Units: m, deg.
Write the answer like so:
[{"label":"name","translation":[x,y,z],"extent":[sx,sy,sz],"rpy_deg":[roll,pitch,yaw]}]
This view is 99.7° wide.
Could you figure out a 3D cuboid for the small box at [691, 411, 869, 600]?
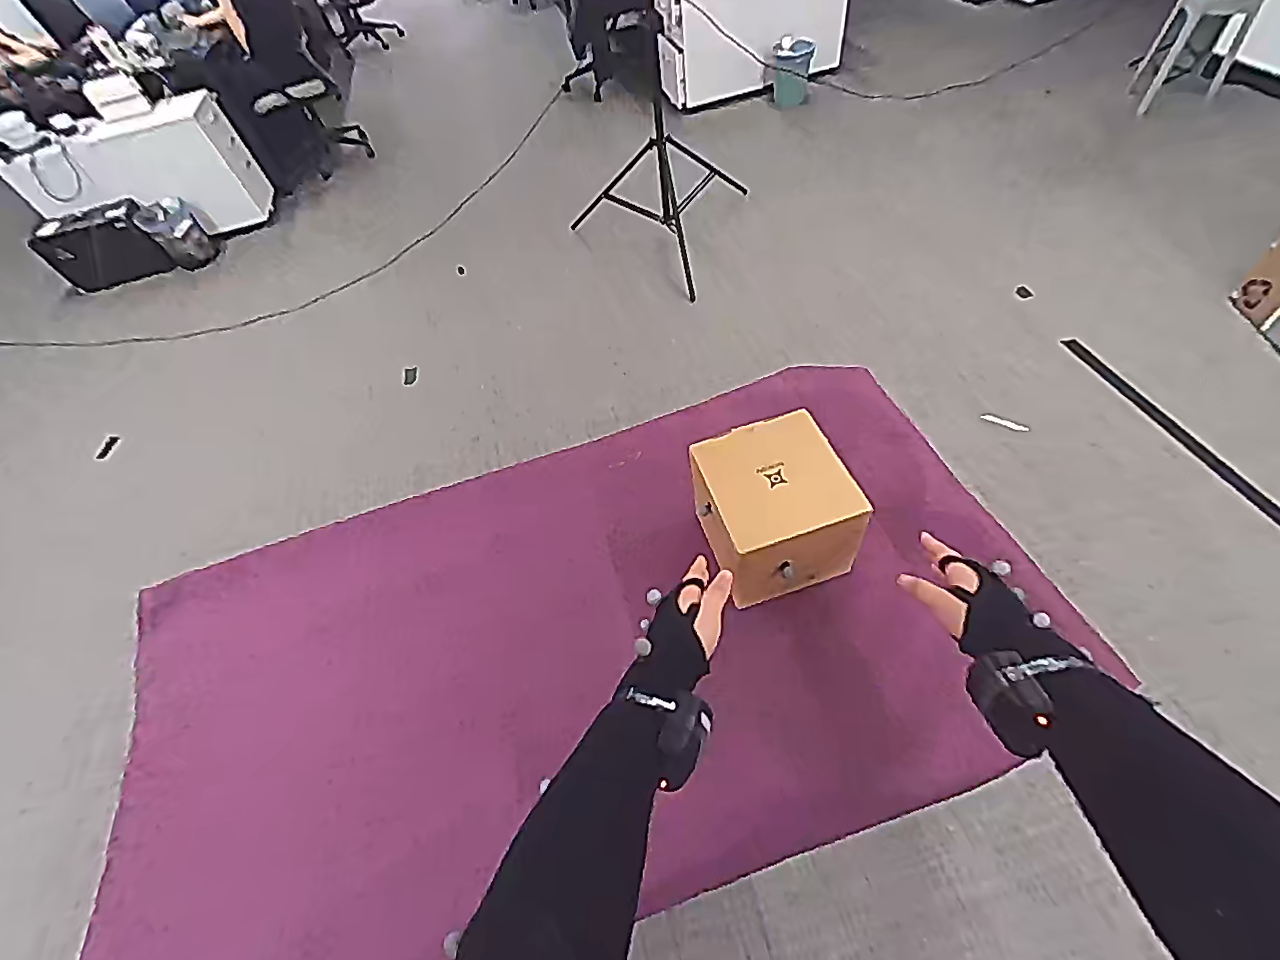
[{"label":"small box","translation":[0.179,0.044,0.730],"extent":[0.168,0.176,0.179],"rpy_deg":[-18,53,-3]}]
